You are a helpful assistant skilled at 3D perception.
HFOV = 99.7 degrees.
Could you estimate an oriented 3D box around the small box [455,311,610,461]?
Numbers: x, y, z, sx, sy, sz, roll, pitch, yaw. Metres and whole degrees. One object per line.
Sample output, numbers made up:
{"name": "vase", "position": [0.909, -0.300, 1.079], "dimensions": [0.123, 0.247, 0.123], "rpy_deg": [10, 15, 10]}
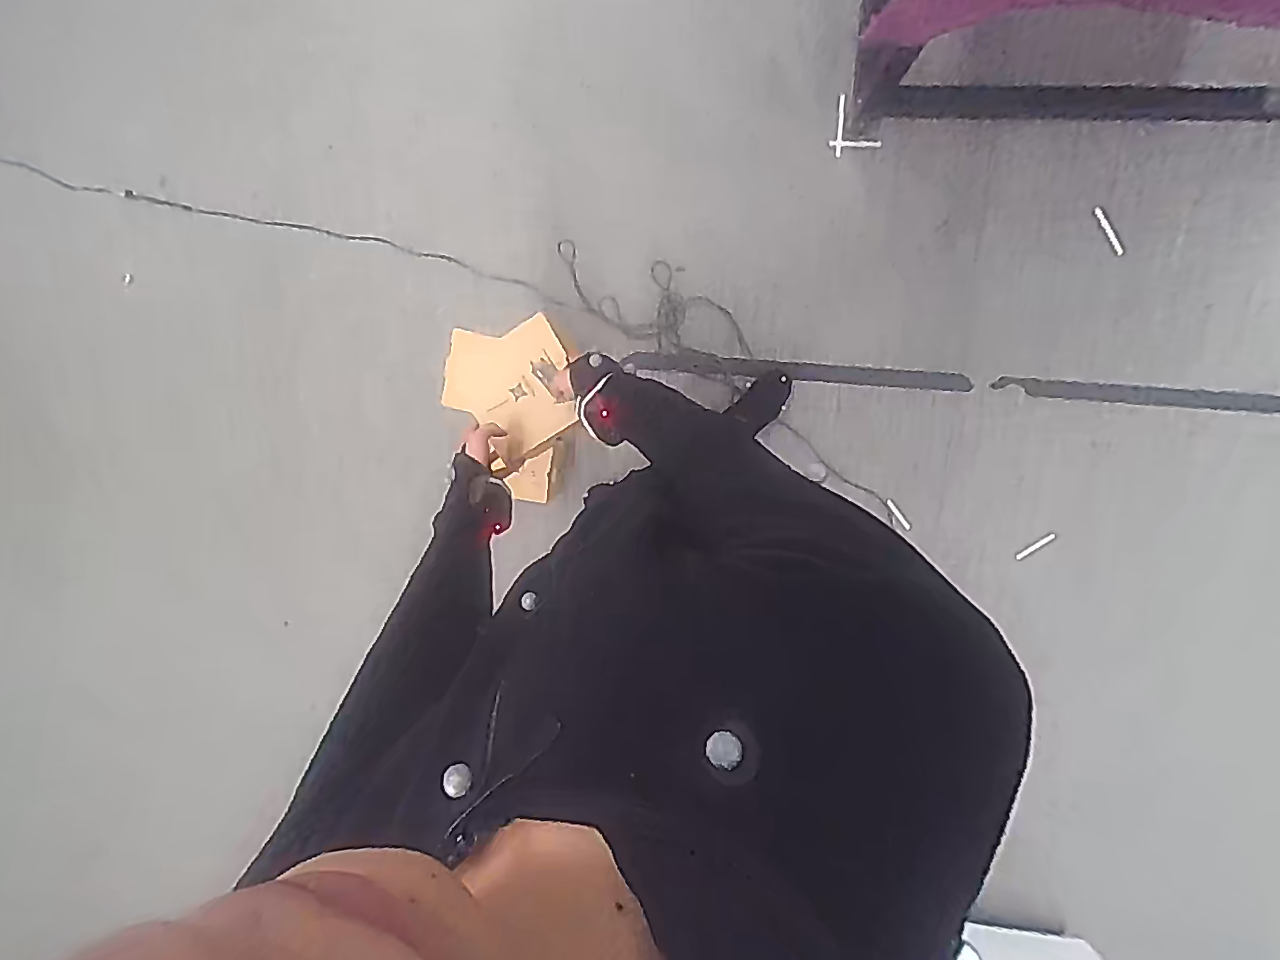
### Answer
{"name": "small box", "position": [-0.161, -0.150, 0.886], "dimensions": [0.179, 0.176, 0.168], "rpy_deg": [-30, 93, 8]}

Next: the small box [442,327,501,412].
{"name": "small box", "position": [-0.308, -0.231, 1.201], "dimensions": [0.179, 0.176, 0.168], "rpy_deg": [14, 100, 4]}

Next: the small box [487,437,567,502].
{"name": "small box", "position": [-0.321, -0.044, 1.562], "dimensions": [0.179, 0.176, 0.168], "rpy_deg": [9, 100, 3]}
